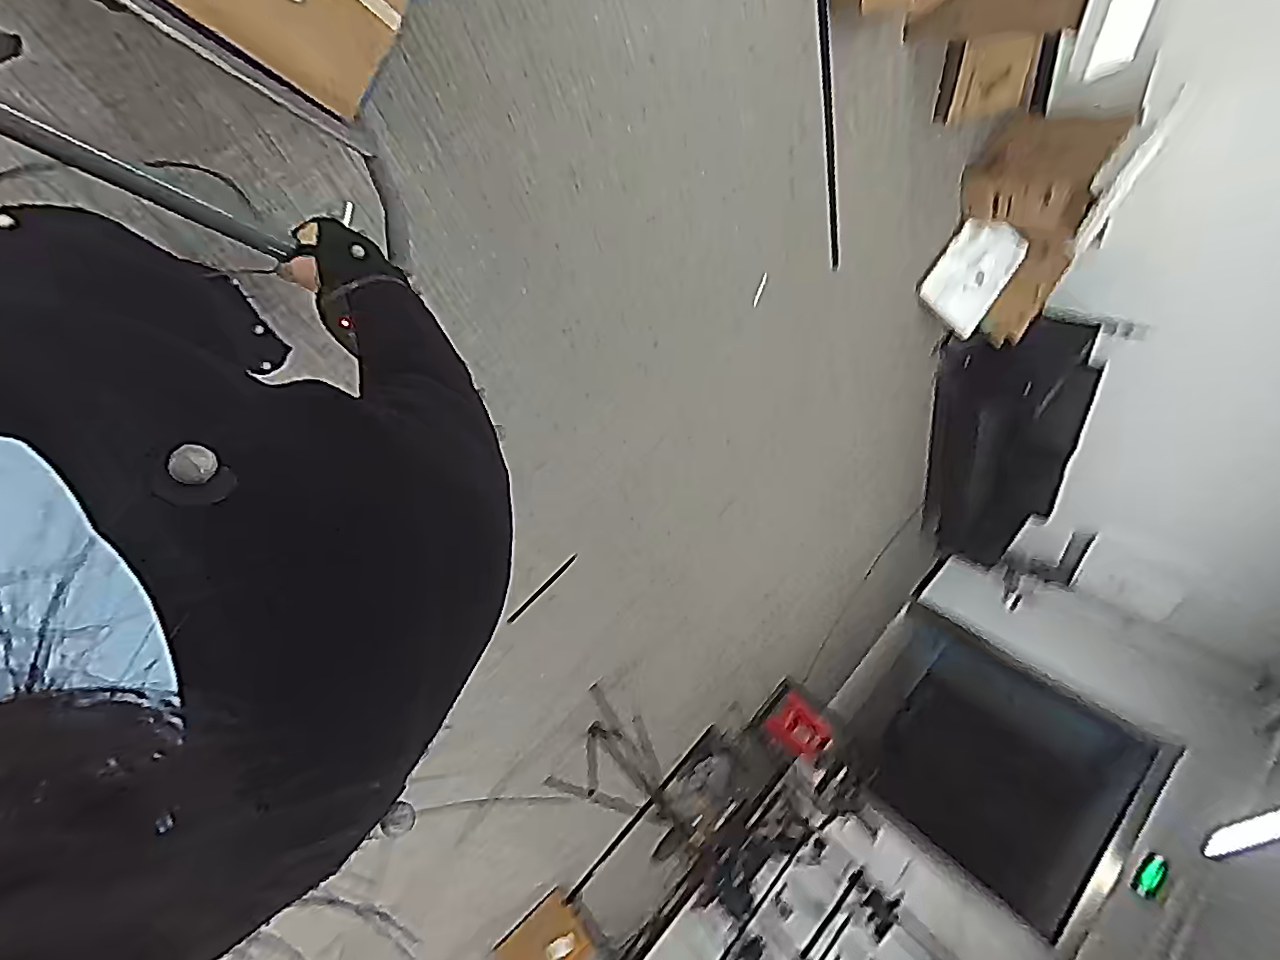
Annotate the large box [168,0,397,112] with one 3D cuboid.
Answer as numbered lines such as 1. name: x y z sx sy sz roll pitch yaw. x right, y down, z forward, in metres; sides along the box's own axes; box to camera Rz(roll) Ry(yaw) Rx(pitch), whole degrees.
1. large box: -0.560 -0.804 0.711 0.320 0.320 0.408 -48 145 19
